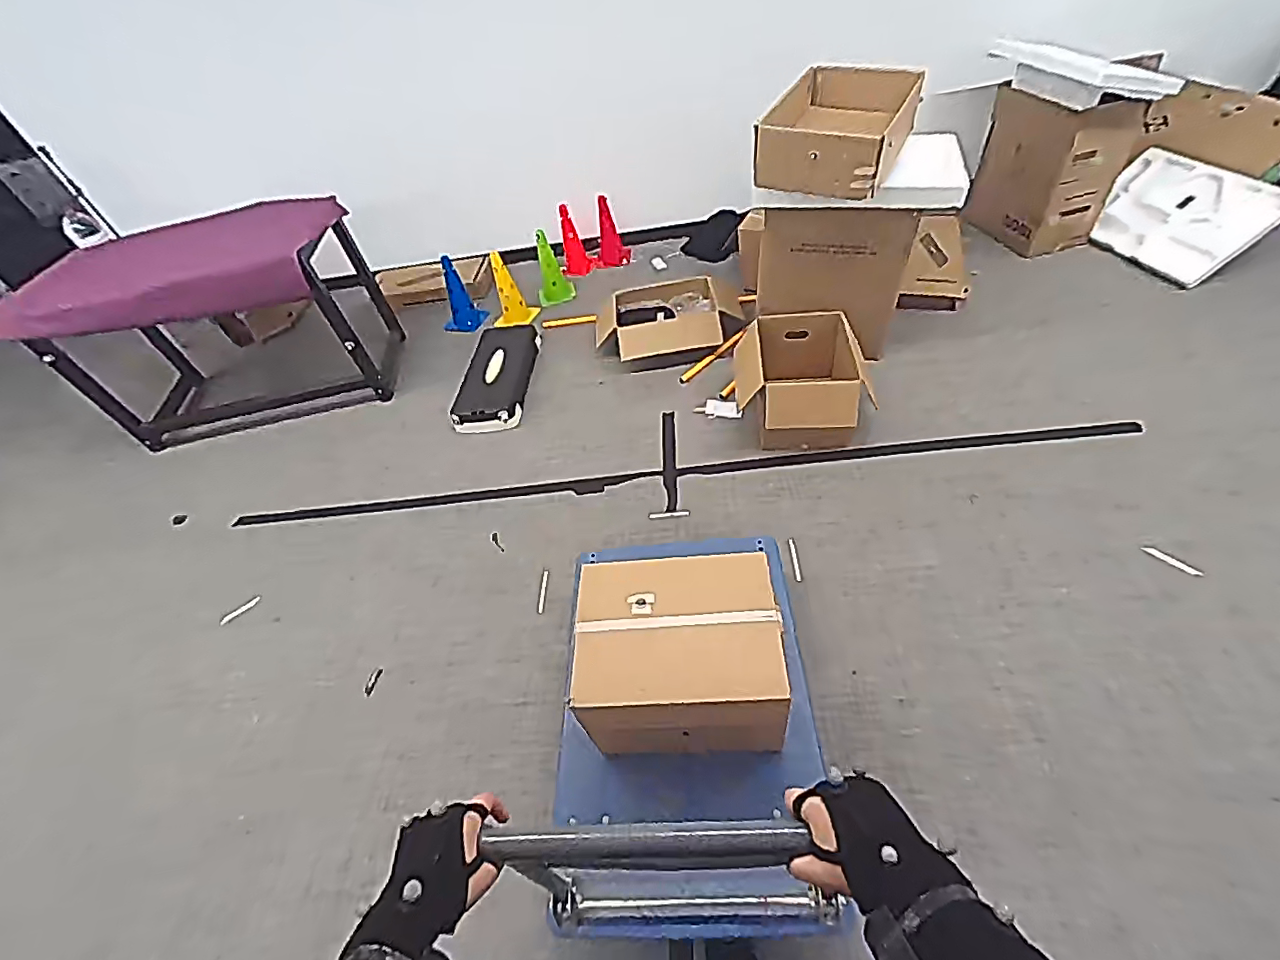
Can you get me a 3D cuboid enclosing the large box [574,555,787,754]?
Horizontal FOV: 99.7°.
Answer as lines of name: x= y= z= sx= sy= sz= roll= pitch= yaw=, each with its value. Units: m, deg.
large box: x=0.094 y=0.398 z=1.206 sx=0.408 sy=0.320 sz=0.320 roll=-6 pitch=47 yaw=7
